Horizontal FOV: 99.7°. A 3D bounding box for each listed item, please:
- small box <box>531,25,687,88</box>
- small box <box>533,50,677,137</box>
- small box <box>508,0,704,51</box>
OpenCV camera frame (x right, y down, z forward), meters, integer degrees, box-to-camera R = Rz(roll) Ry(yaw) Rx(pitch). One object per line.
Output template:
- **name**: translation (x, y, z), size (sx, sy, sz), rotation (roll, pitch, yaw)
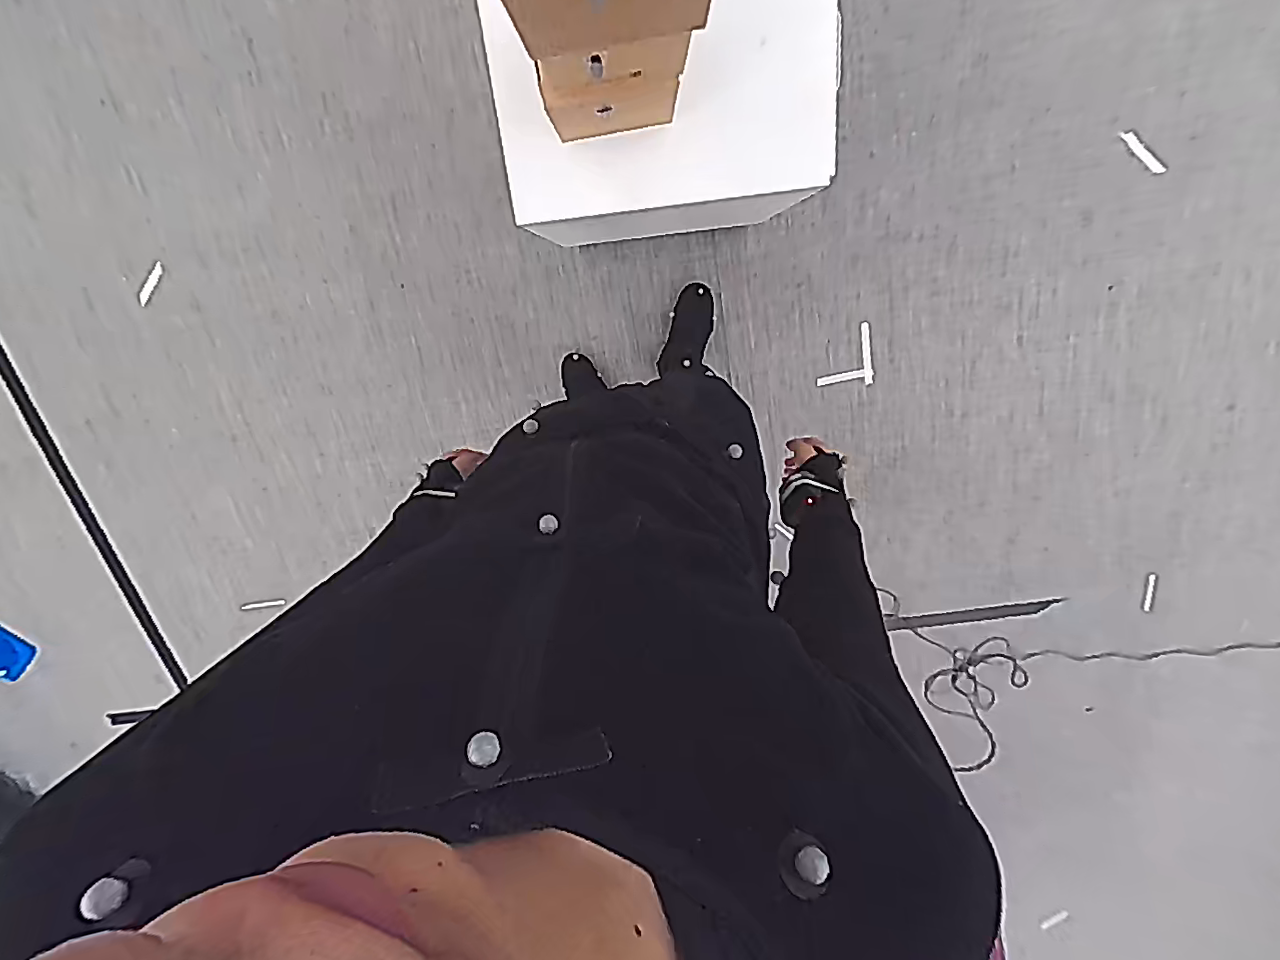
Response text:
- **small box**: translation (-0.039, -0.547, 0.573), size (0.168, 0.176, 0.179), rotation (-8, 109, 3)
- **small box**: translation (-0.049, -0.587, 0.731), size (0.179, 0.176, 0.168), rotation (-9, 110, 2)
- **small box**: translation (-0.035, -0.475, 0.424), size (0.179, 0.176, 0.168), rotation (-8, 110, 3)
